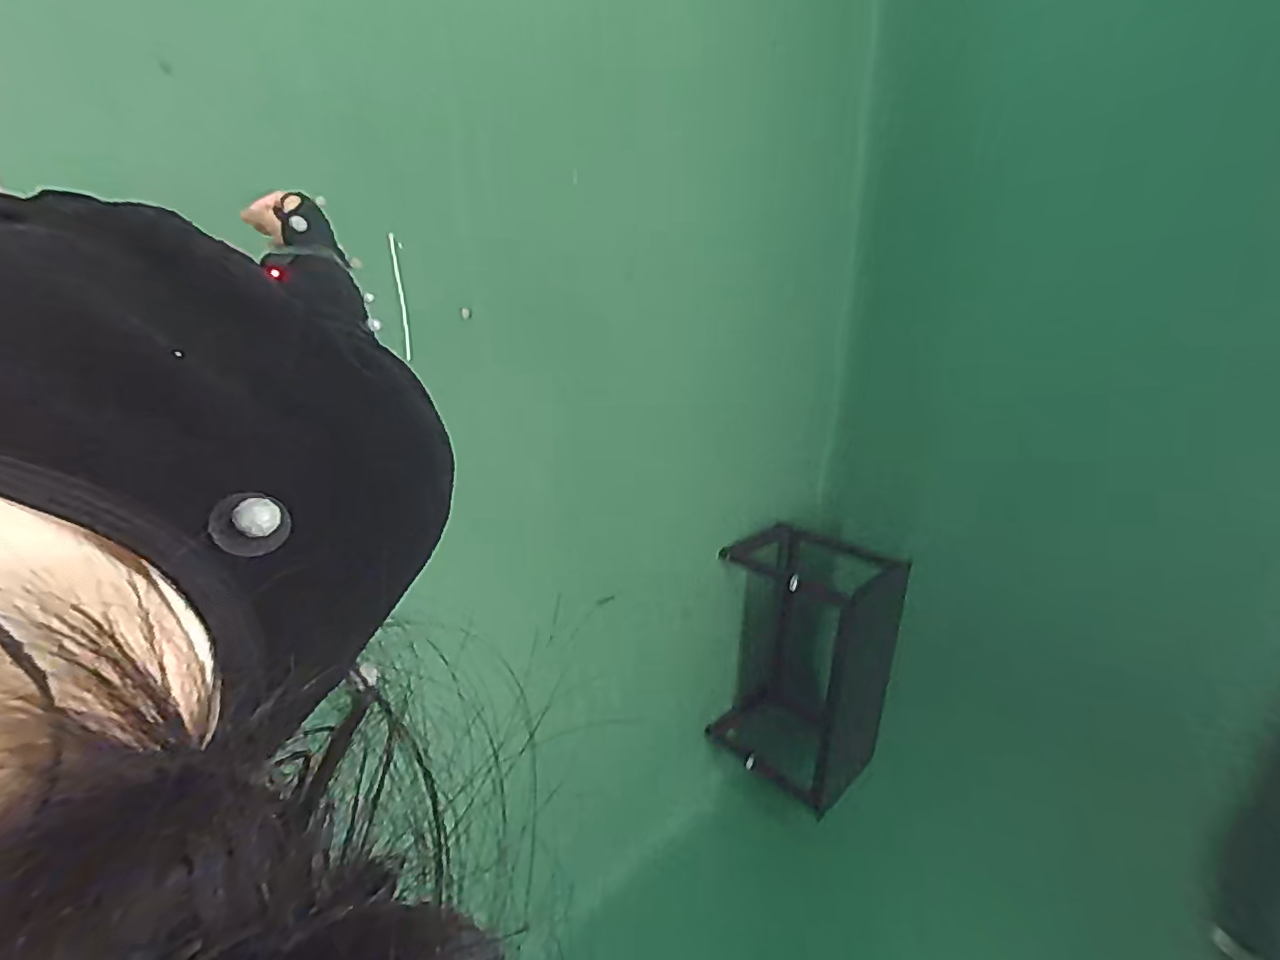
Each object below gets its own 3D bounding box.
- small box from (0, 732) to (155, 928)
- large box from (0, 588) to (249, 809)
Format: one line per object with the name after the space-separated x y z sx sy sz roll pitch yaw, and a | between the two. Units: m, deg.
-0.958 0.564 0.897 0.179 0.176 0.168 -30 122 -34 | small box
-1.108 0.492 1.081 0.408 0.320 0.320 -35 127 -33 | large box
